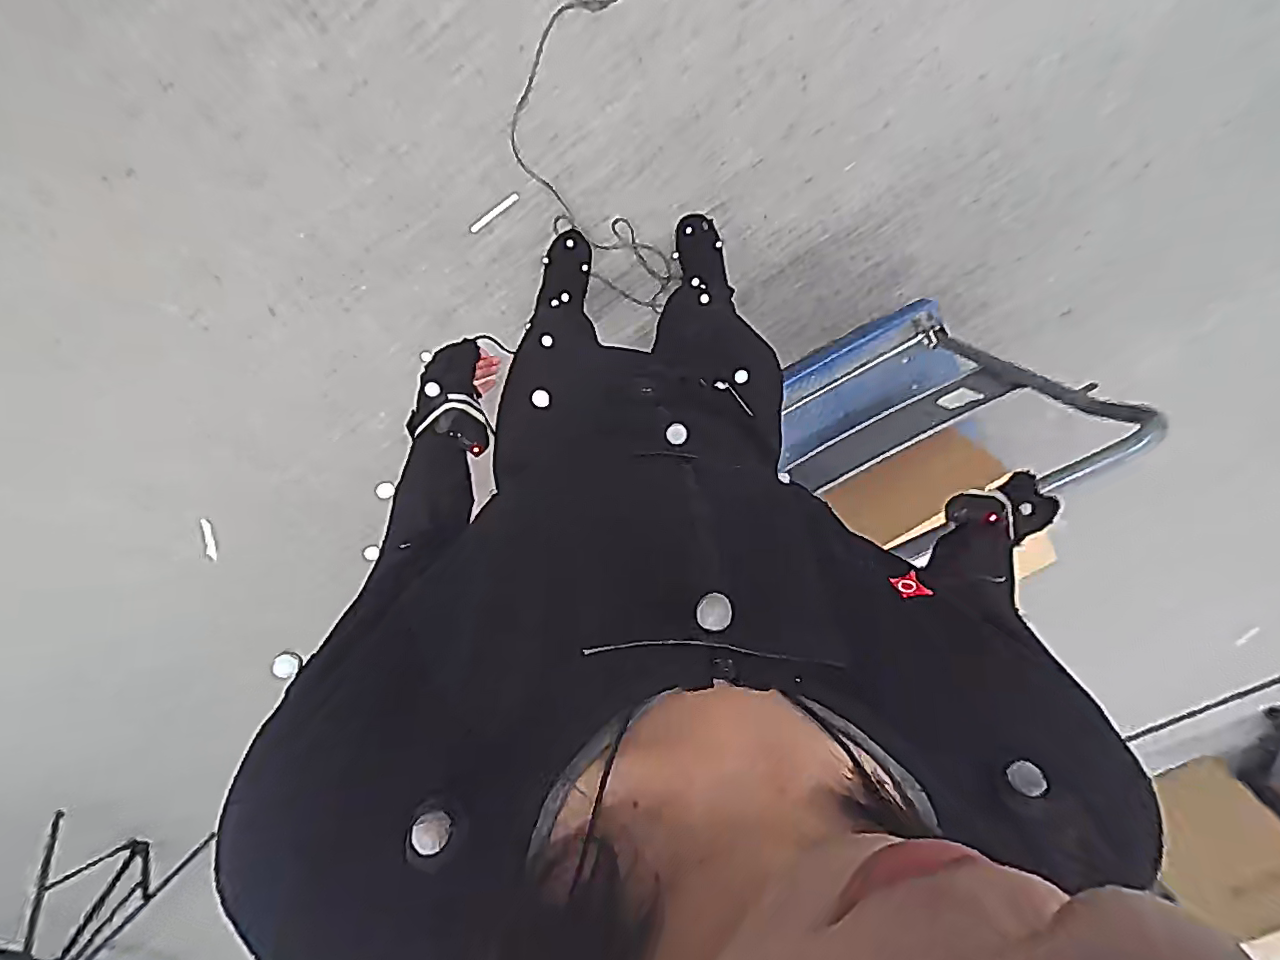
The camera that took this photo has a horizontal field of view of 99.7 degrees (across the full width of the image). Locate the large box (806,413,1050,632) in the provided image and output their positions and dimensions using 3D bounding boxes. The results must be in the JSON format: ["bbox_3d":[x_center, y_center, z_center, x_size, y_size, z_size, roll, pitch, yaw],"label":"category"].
[{"bbox_3d":[0.711,0.103,1.387,0.408,0.320,0.320,-36,115,16],"label":"large box"}]
